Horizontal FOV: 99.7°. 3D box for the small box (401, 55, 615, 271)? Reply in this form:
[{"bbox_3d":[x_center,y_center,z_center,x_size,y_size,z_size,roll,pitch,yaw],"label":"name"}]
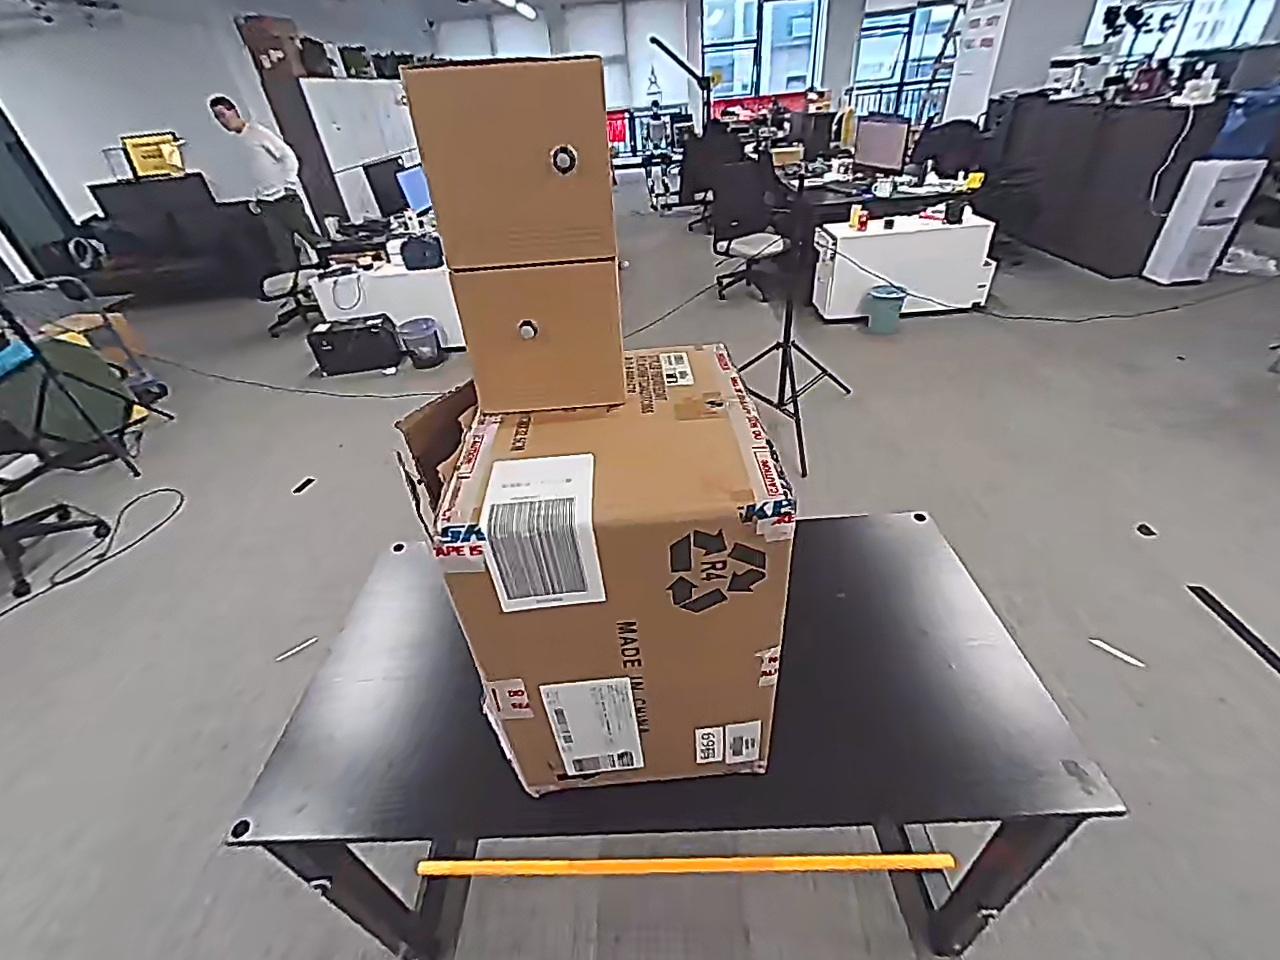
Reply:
[{"bbox_3d":[-0.119,-0.330,0.570,0.179,0.176,0.168,-7,33,-3],"label":"small box"}]

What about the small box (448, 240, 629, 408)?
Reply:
[{"bbox_3d":[-0.110,-0.197,0.665,0.179,0.176,0.168,-5,34,-1],"label":"small box"}]
